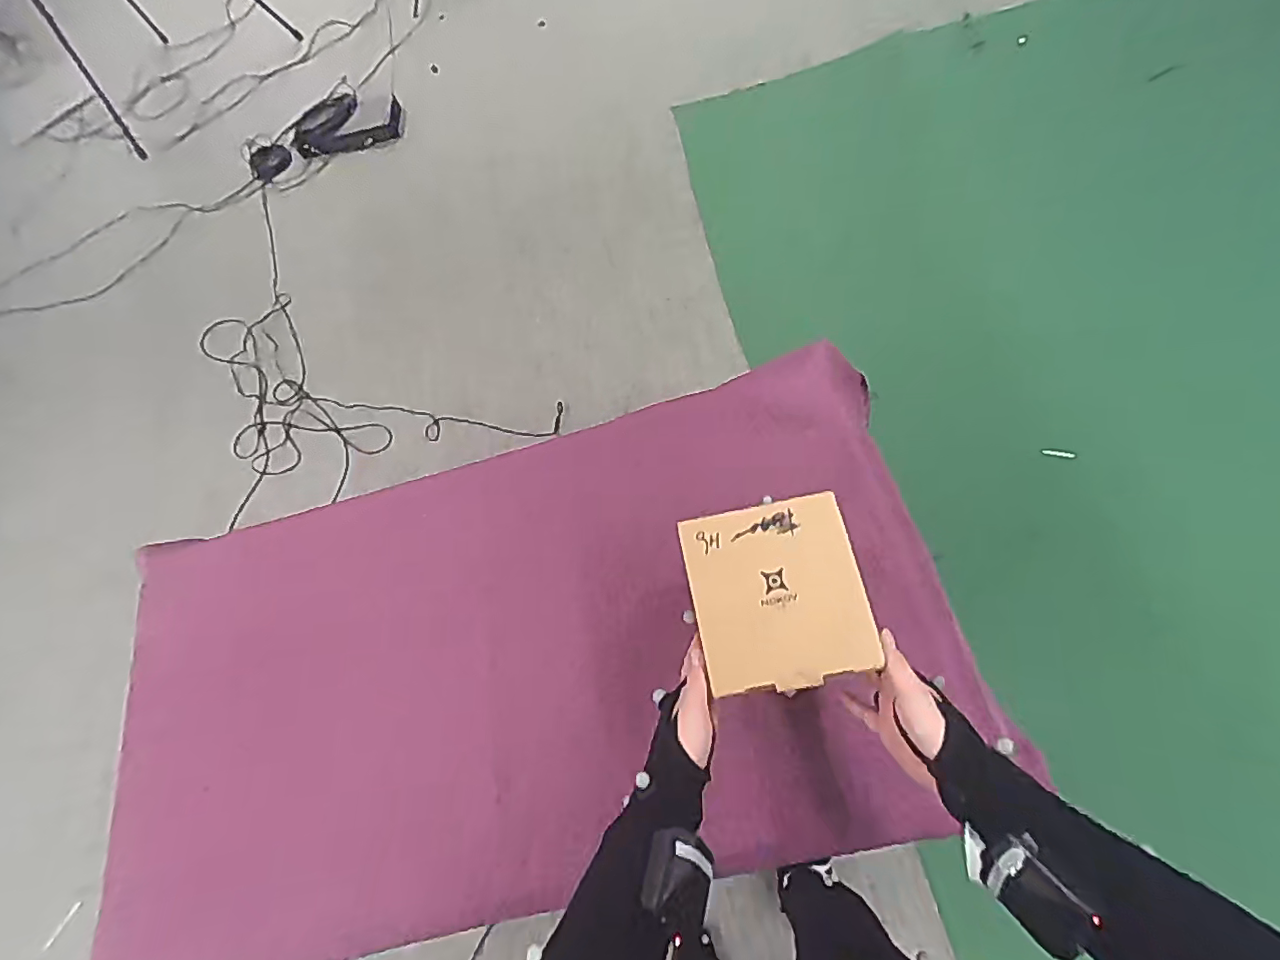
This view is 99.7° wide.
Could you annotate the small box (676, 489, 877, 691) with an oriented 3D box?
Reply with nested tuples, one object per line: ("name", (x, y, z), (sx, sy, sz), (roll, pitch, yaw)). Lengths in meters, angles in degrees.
("small box", (0.141, 0.127, 0.611), (0.168, 0.176, 0.179), (-12, 72, 4))
